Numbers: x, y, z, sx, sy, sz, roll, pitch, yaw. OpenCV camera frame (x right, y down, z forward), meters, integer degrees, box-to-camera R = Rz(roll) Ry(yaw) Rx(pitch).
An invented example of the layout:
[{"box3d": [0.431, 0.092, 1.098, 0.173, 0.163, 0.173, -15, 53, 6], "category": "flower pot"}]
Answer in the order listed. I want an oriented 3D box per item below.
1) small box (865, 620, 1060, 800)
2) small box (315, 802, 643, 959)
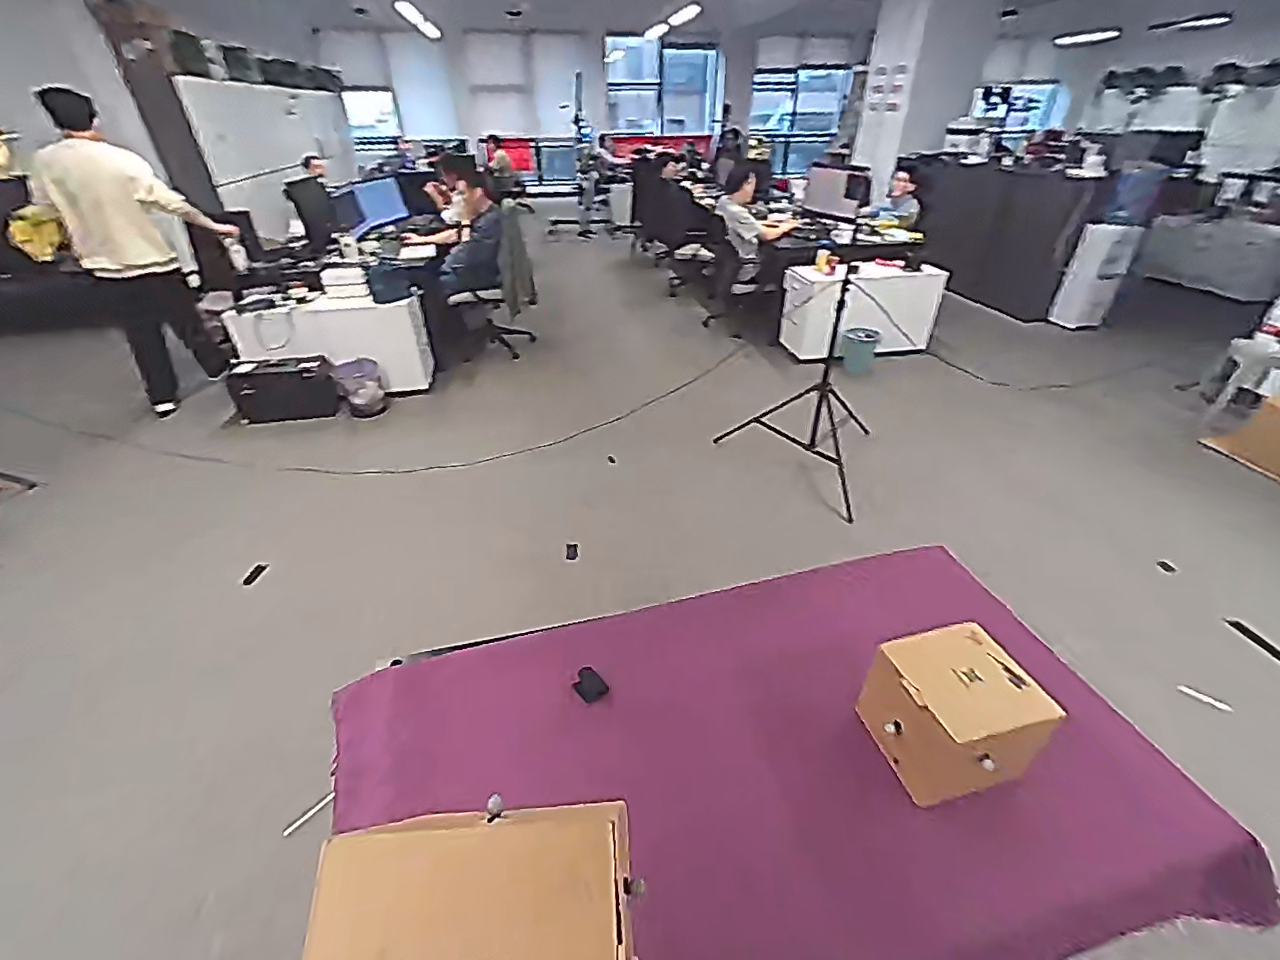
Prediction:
[{"box3d": [0.462, 0.343, 0.811, 0.179, 0.176, 0.168, -10, 35, -11], "category": "small box"}, {"box3d": [-0.086, 0.311, 0.352, 0.179, 0.176, 0.168, -4, 60, 0], "category": "small box"}]
